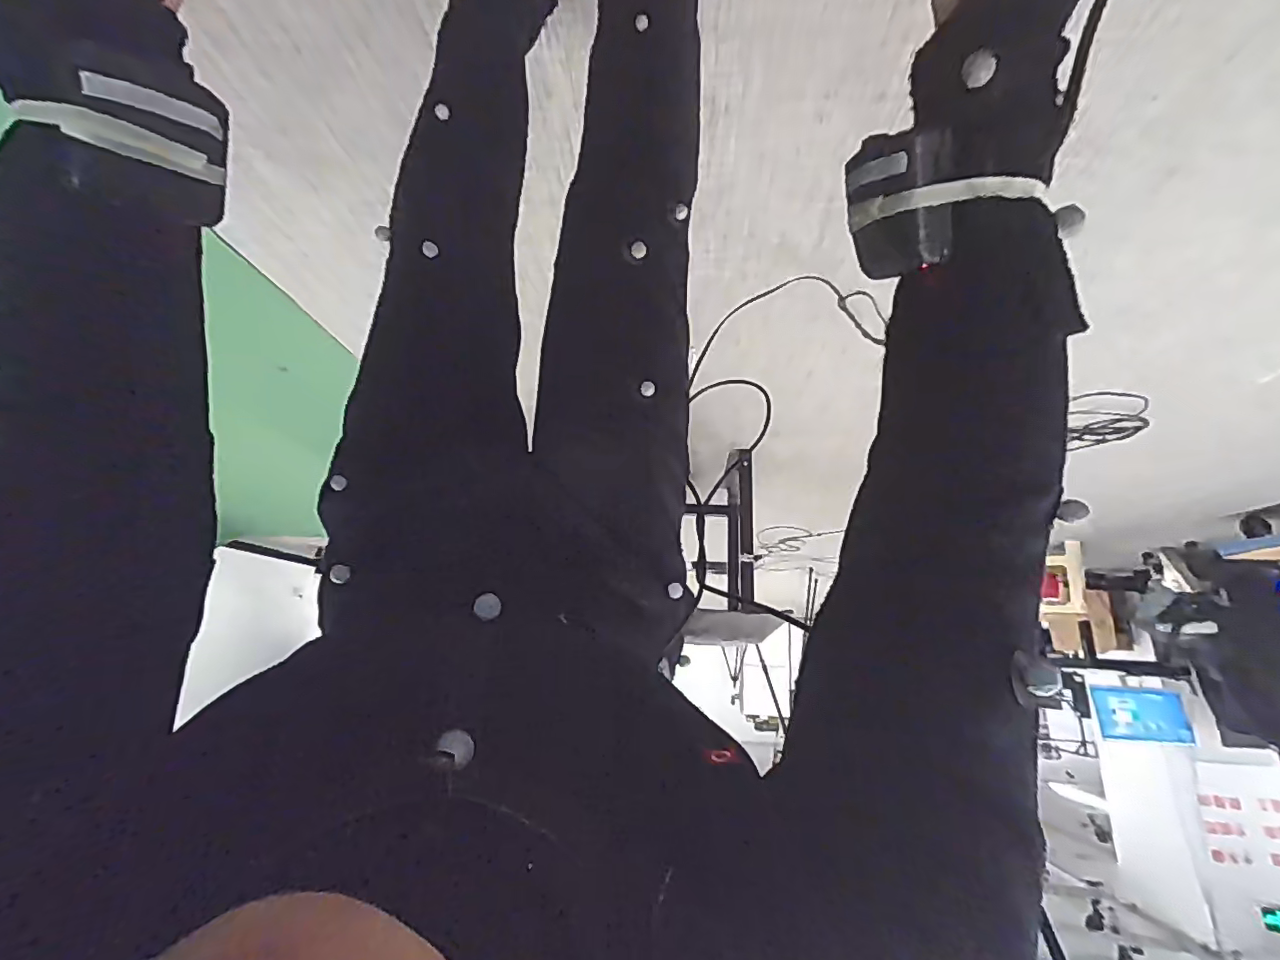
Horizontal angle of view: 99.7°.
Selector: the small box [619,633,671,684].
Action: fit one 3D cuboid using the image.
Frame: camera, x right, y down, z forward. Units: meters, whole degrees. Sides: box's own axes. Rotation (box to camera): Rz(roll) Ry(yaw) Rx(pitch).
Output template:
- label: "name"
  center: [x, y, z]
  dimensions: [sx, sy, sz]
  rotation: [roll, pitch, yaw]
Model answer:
- label: "small box"
  center: [0.026, 0.678, 2.061]
  dimensions: [0.168, 0.176, 0.179]
  rotation: [-1, 162, 13]
